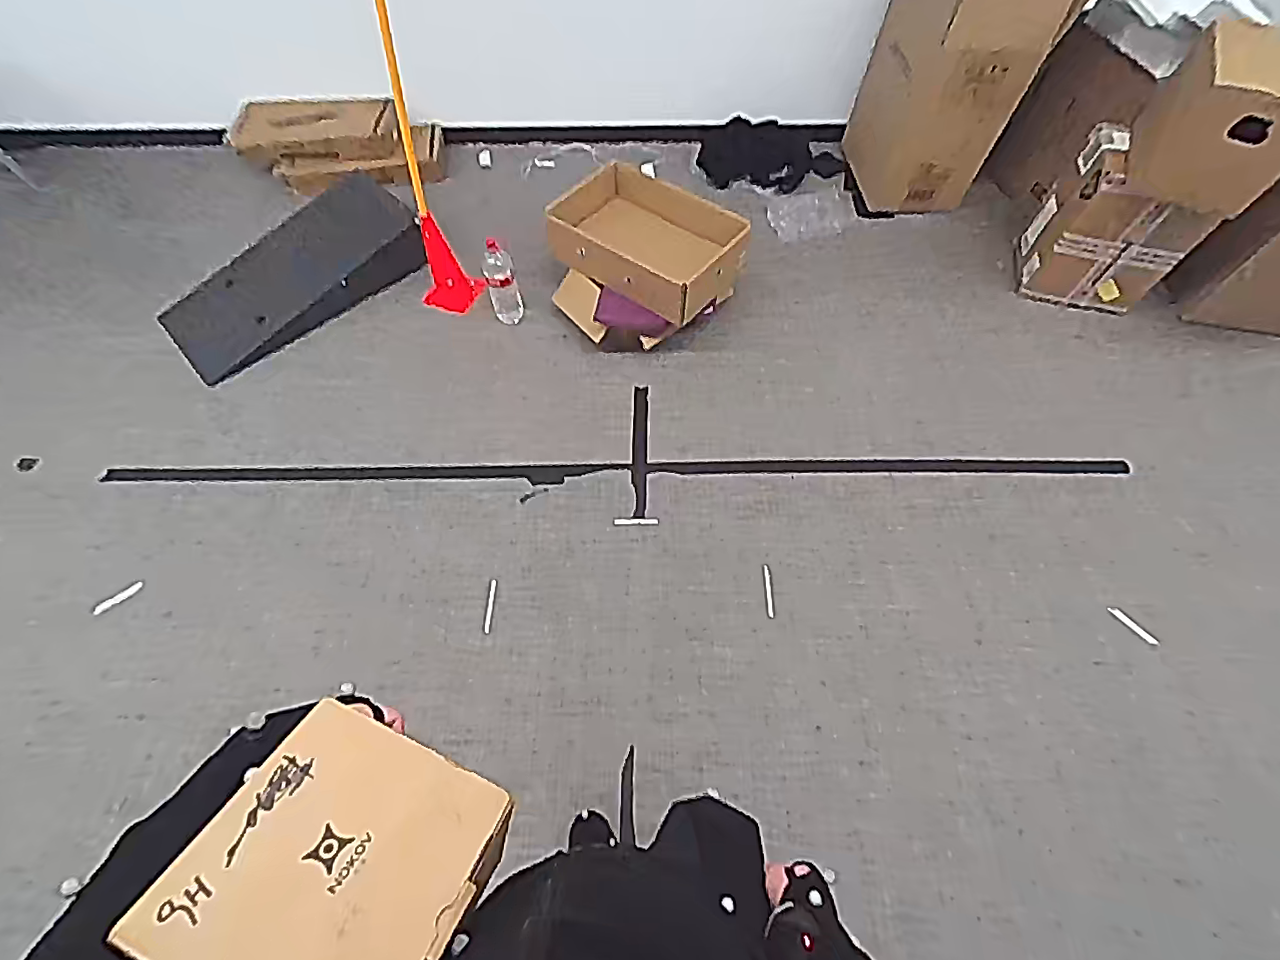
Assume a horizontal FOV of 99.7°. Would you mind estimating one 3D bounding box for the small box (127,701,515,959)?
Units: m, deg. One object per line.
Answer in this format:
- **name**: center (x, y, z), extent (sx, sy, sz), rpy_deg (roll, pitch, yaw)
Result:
- **small box**: center (-0.221, 0.316, 0.424), extent (0.179, 0.176, 0.168), rpy_deg (24, 41, 6)
